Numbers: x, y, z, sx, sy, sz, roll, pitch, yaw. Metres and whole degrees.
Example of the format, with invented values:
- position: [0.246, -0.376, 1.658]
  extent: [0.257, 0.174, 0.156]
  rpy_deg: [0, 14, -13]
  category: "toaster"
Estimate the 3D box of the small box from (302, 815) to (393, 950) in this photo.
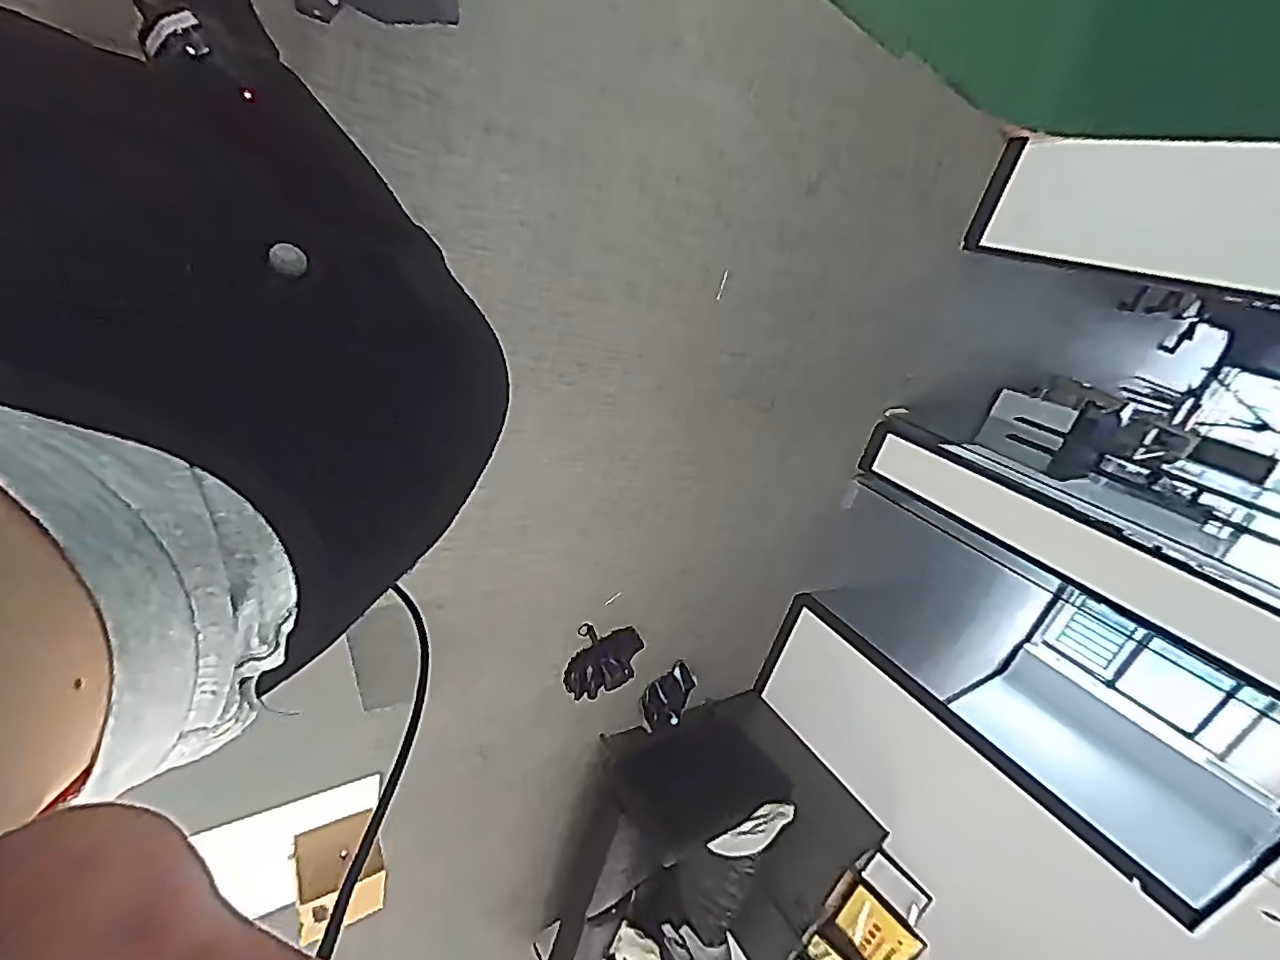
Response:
- position: [-0.714, 0.966, 1.313]
  extent: [0.179, 0.176, 0.168]
  rpy_deg: [-4, 120, -36]
  category: "small box"
